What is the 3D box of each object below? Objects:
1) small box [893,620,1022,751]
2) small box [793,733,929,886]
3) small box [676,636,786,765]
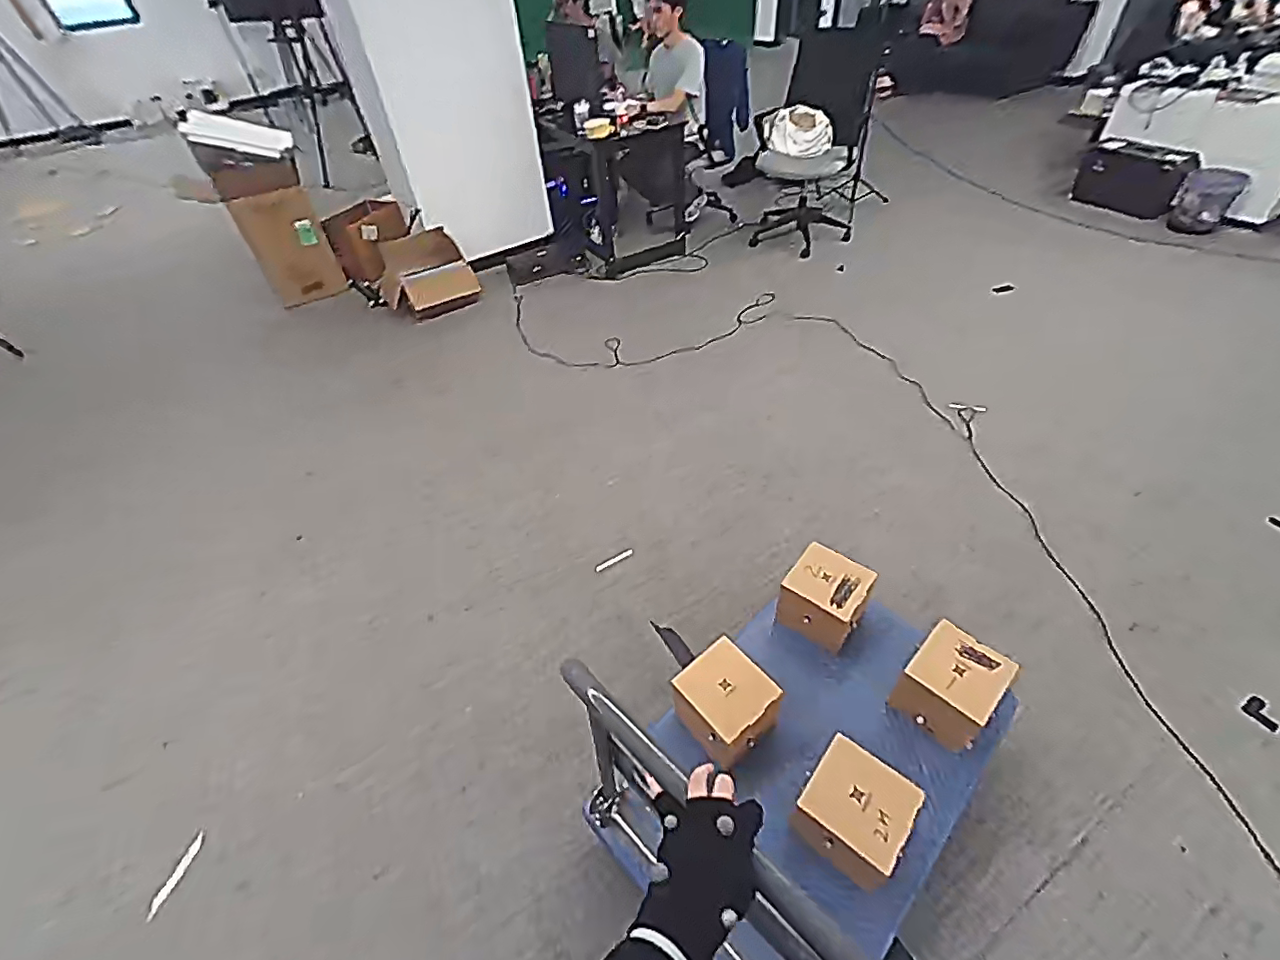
[{"bbox_3d":[0.686,0.452,1.189,0.179,0.176,0.168,-37,52,-25],"label":"small box"},{"bbox_3d":[0.413,0.636,1.039,0.179,0.176,0.168,30,56,30],"label":"small box"},{"bbox_3d":[0.194,0.493,1.204,0.168,0.176,0.179,-33,53,-24],"label":"small box"}]
